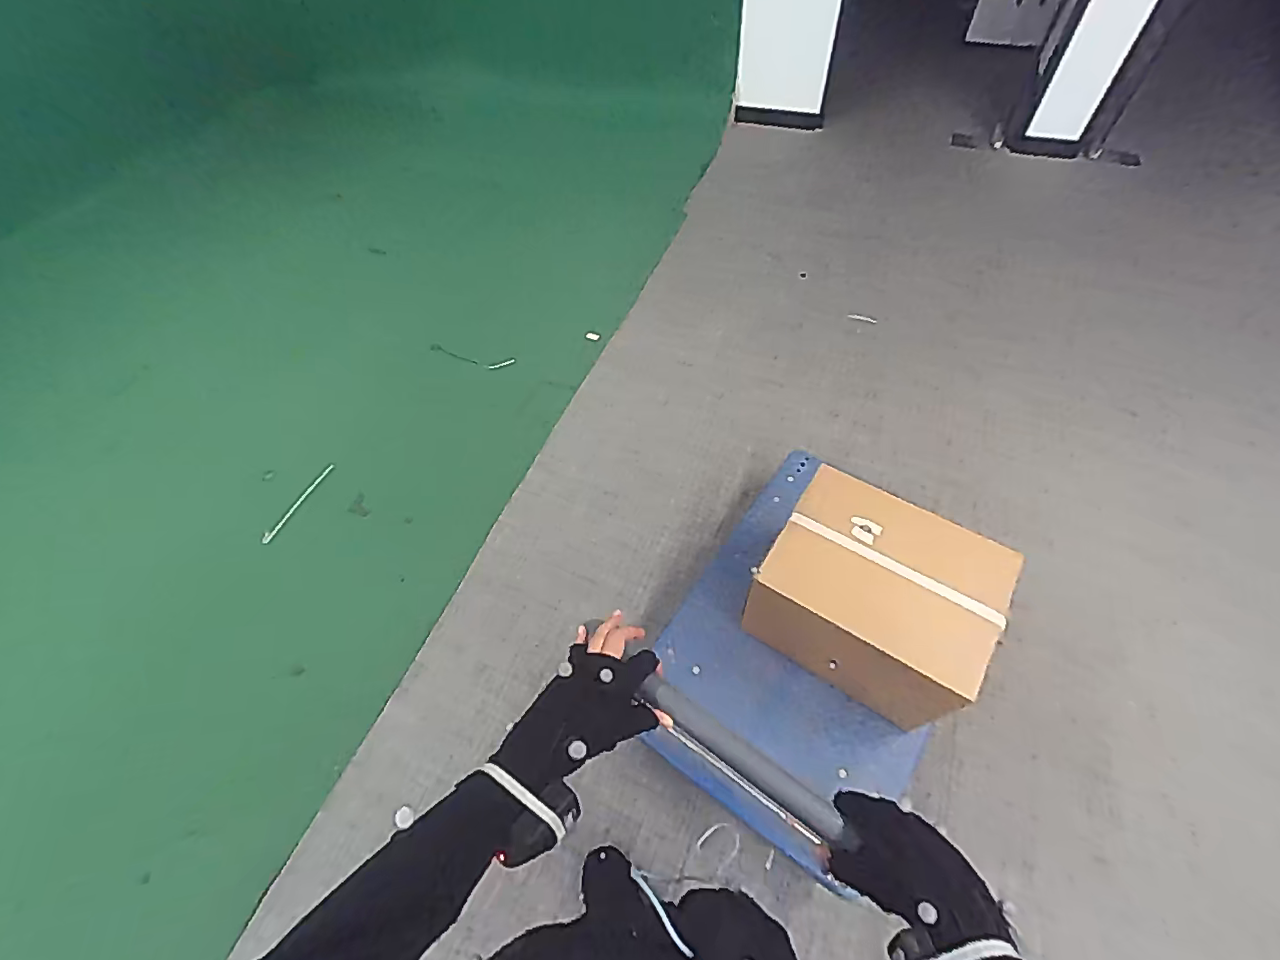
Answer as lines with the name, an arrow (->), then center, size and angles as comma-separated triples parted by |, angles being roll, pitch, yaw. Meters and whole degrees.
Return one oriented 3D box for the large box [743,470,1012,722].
large box -> 0.475, 0.249, 1.154 | 0.408, 0.320, 0.320 | 27, 63, 22
